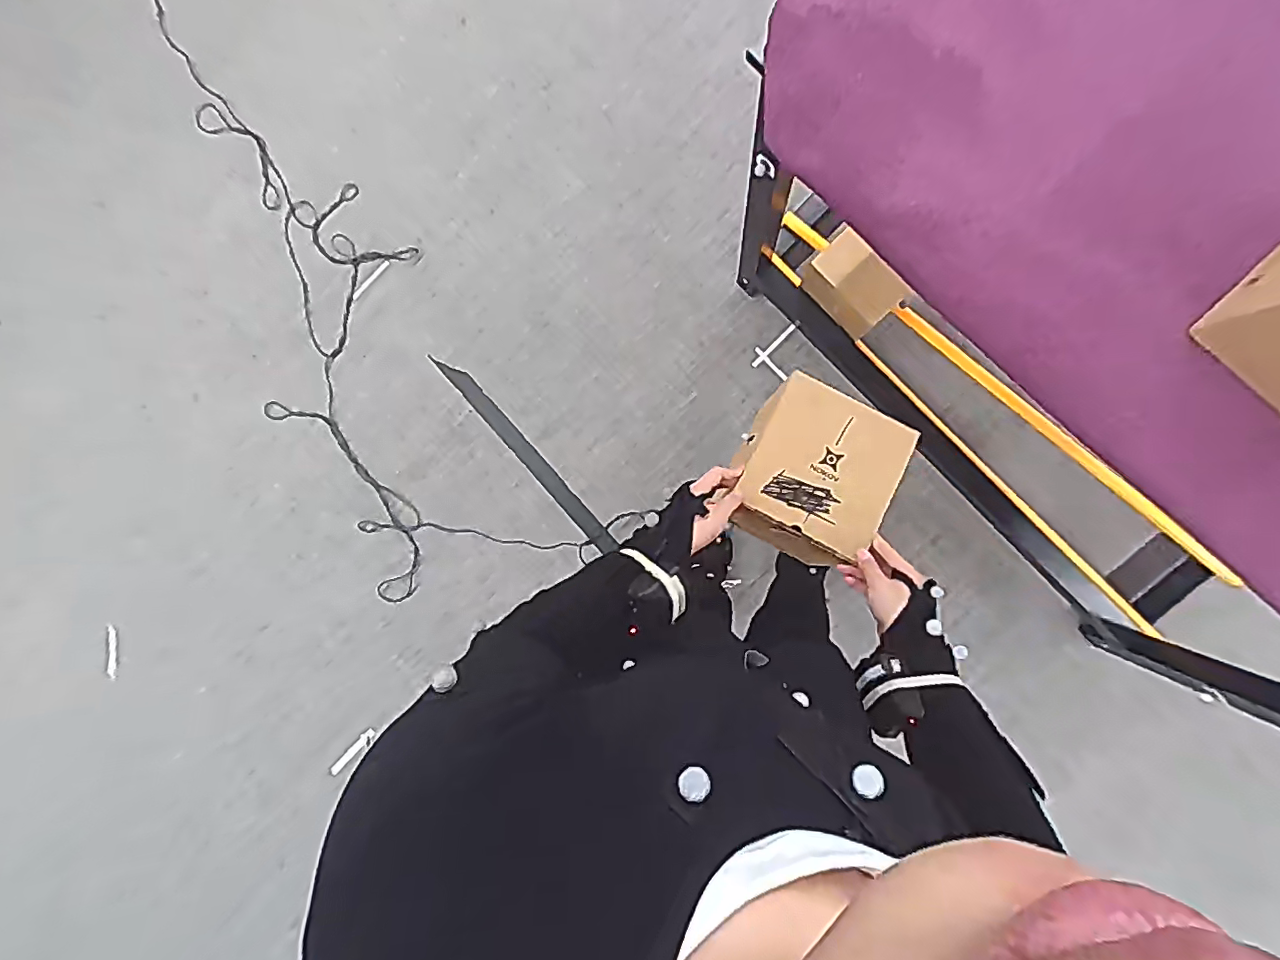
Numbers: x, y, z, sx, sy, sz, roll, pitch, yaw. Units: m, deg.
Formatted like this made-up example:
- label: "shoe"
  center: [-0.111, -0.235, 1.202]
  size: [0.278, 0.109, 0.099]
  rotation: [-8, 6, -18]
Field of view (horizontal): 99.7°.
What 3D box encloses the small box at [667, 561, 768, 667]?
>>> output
- label: "small box"
  center: [0.172, 0.300, 1.241]
  size: [0.179, 0.176, 0.168]
  rotation: [24, 90, 5]
